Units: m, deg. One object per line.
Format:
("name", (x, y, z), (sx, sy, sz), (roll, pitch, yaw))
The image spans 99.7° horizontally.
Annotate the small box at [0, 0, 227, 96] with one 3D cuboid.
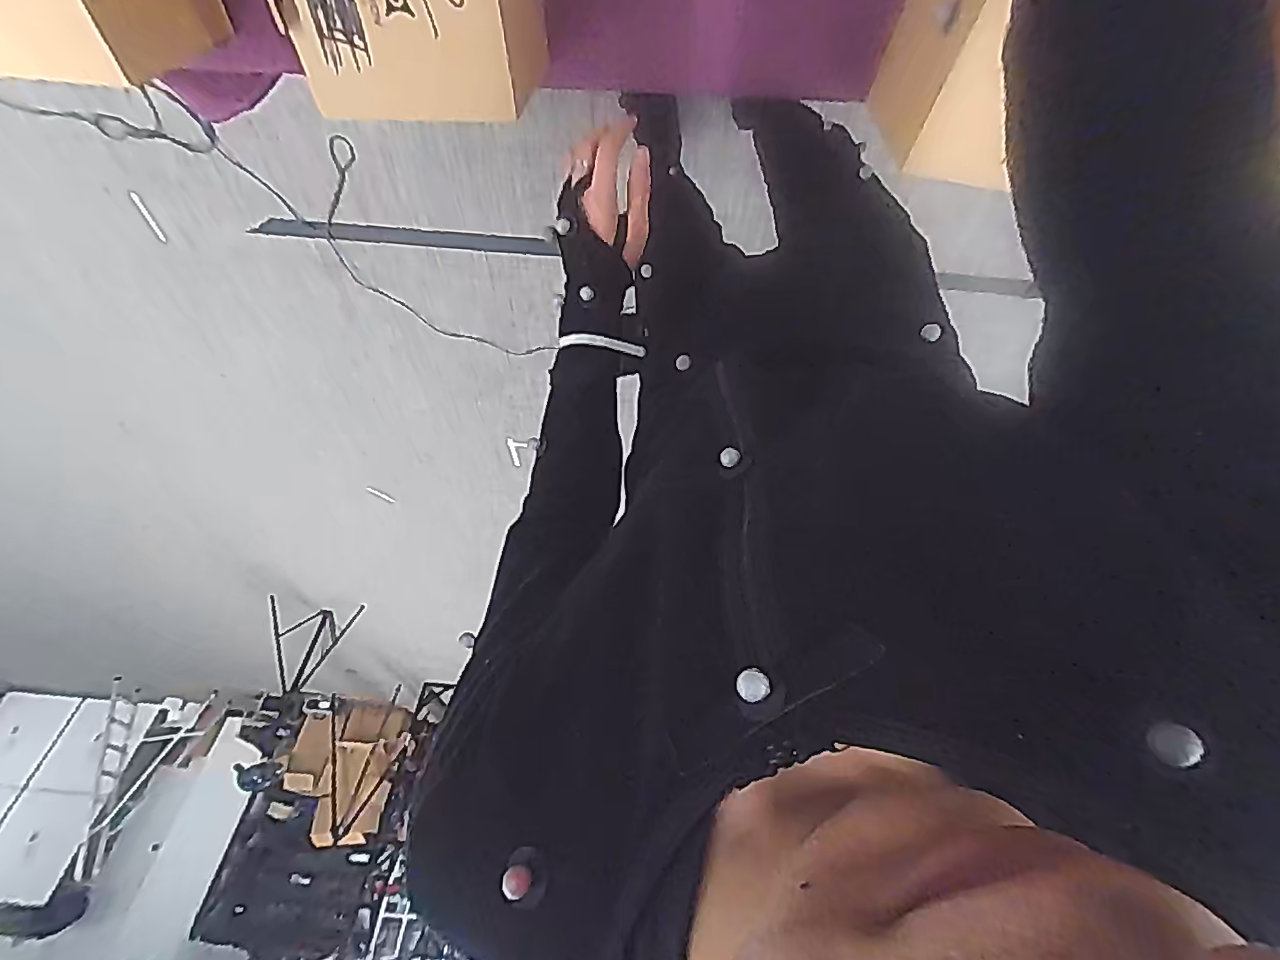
("small box", (-0.510, -0.449, 0.452), (0.179, 0.176, 0.168), (3, 142, 0))
